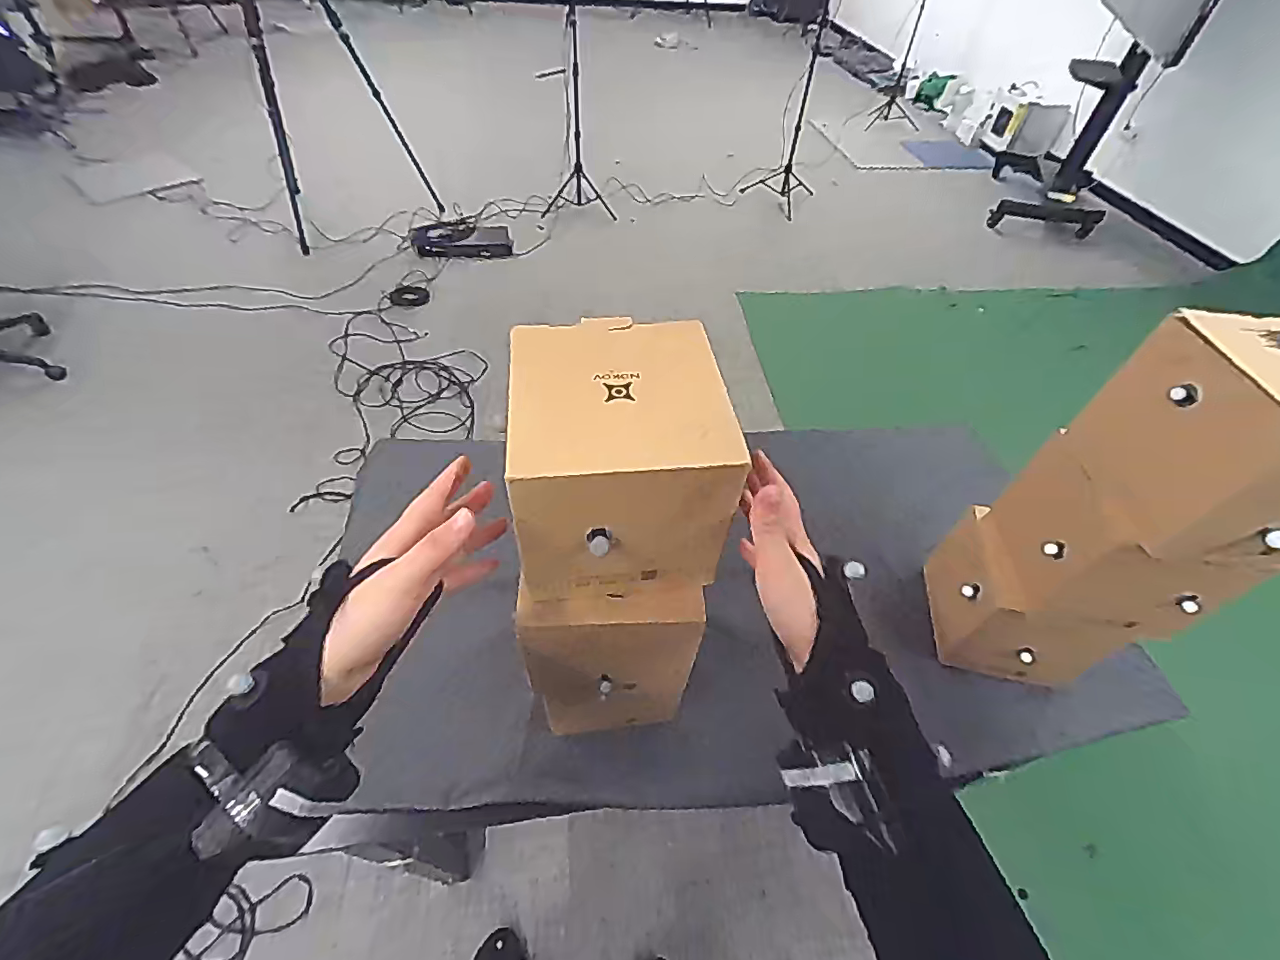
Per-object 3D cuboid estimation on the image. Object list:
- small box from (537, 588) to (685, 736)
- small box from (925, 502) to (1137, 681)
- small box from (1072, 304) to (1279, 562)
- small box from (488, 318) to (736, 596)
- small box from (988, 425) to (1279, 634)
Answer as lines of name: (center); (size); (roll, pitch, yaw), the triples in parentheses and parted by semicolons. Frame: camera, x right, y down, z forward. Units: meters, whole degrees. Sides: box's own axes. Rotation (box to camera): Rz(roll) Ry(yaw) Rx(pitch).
small box: (-0.045, 0.208, 0.703); (0.168, 0.176, 0.179); (-5, 49, -7)
small box: (0.532, 0.161, 0.768); (0.168, 0.176, 0.179); (11, 48, 6)
small box: (0.574, -0.043, 0.515); (0.168, 0.176, 0.179); (3, 49, -1)
small box: (-0.028, -0.014, 0.462); (0.168, 0.176, 0.179); (-5, 49, -7)
small box: (0.559, 0.061, 0.641); (0.168, 0.176, 0.179); (8, 47, 2)
